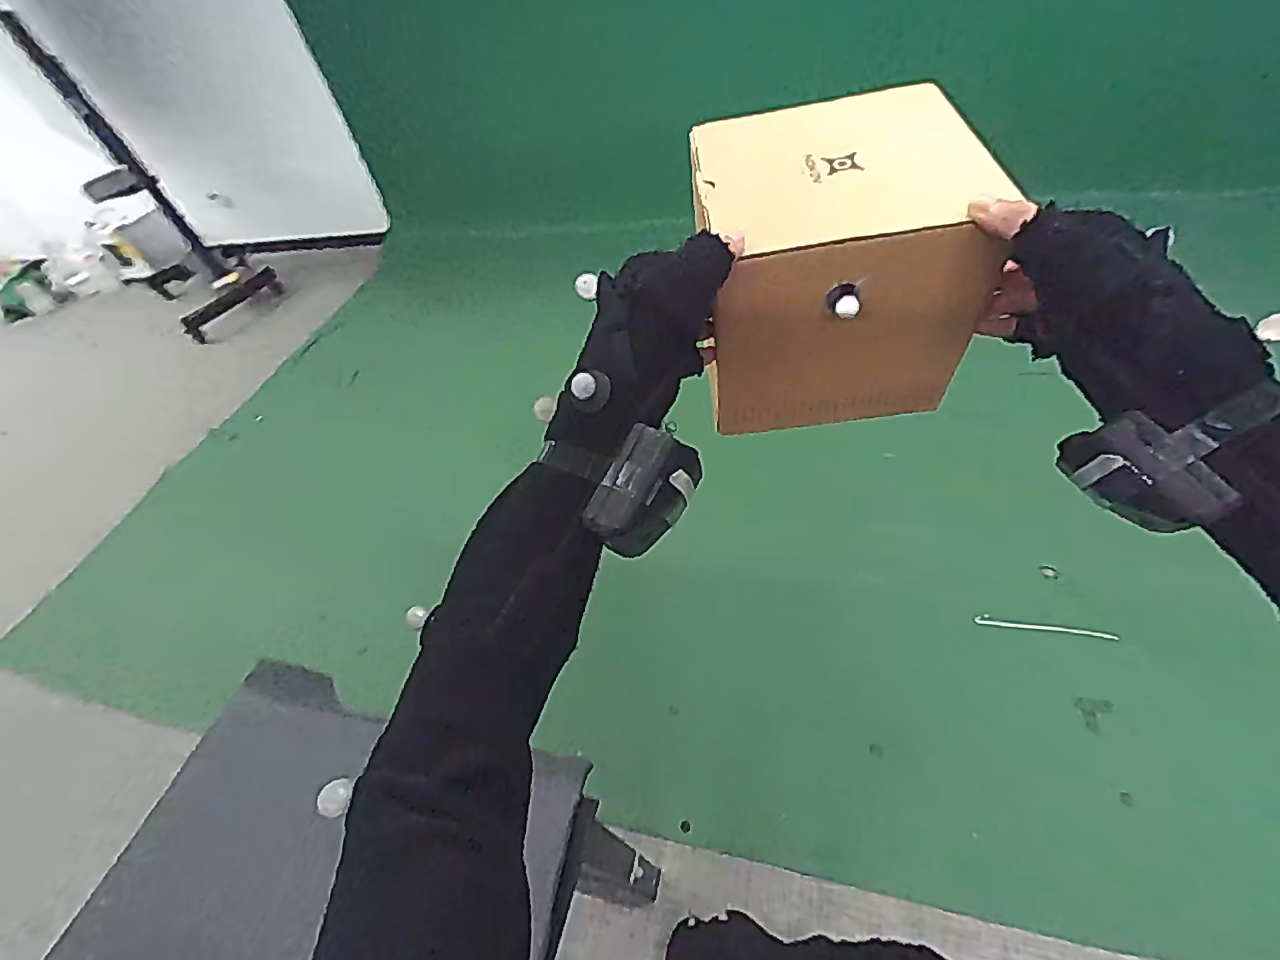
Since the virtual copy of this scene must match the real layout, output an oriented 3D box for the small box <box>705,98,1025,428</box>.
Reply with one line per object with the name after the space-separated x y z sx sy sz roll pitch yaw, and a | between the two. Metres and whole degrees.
0.147 -0.160 0.428 0.179 0.176 0.168 -6 55 6 | small box
